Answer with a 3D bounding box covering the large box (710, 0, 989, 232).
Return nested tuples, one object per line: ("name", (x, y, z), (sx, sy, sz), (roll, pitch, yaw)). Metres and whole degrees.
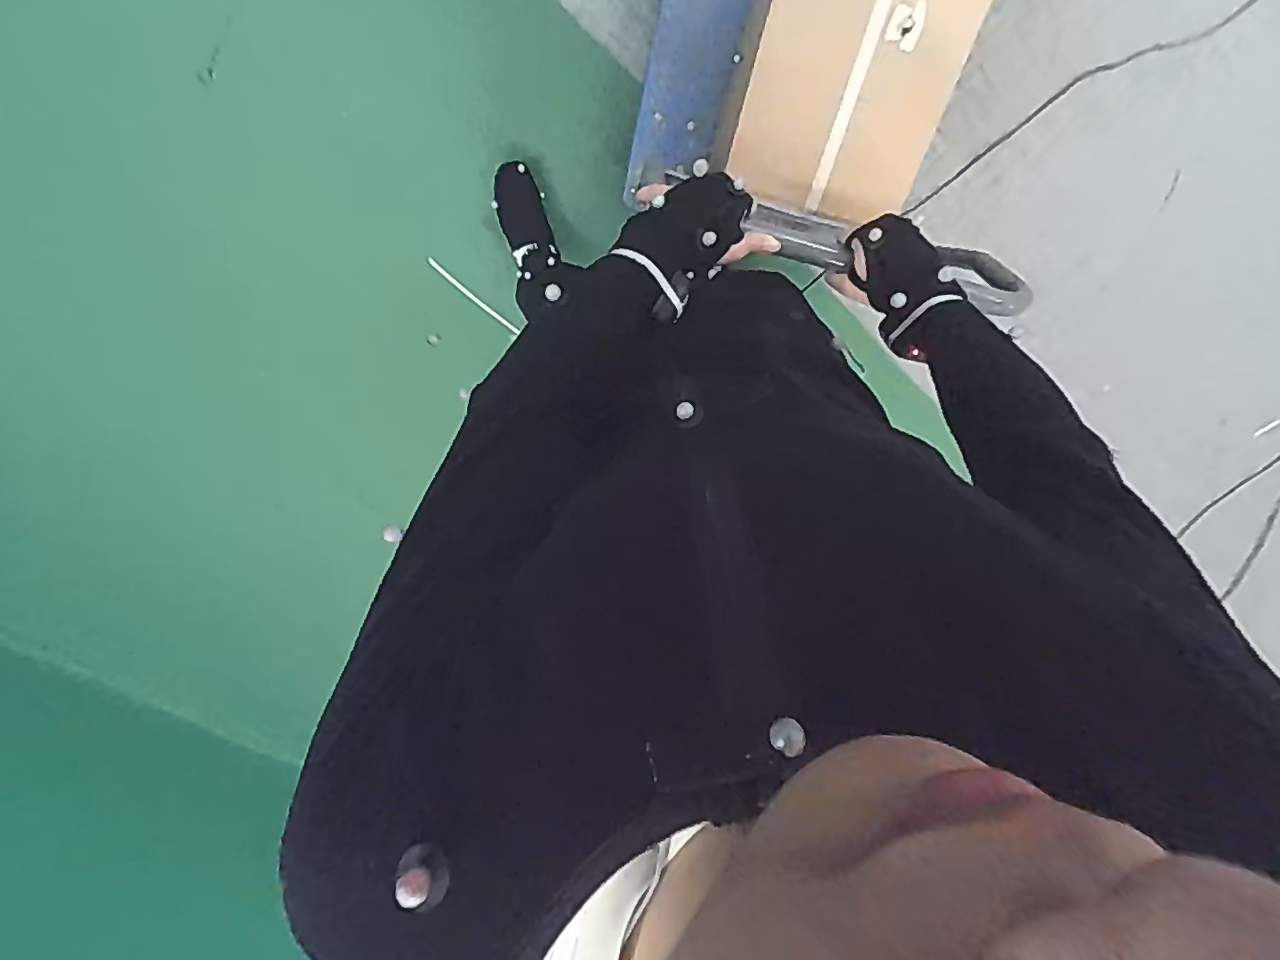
("large box", (0.331, -0.694, 0.952), (0.320, 0.320, 0.408), (12, 119, -7))
